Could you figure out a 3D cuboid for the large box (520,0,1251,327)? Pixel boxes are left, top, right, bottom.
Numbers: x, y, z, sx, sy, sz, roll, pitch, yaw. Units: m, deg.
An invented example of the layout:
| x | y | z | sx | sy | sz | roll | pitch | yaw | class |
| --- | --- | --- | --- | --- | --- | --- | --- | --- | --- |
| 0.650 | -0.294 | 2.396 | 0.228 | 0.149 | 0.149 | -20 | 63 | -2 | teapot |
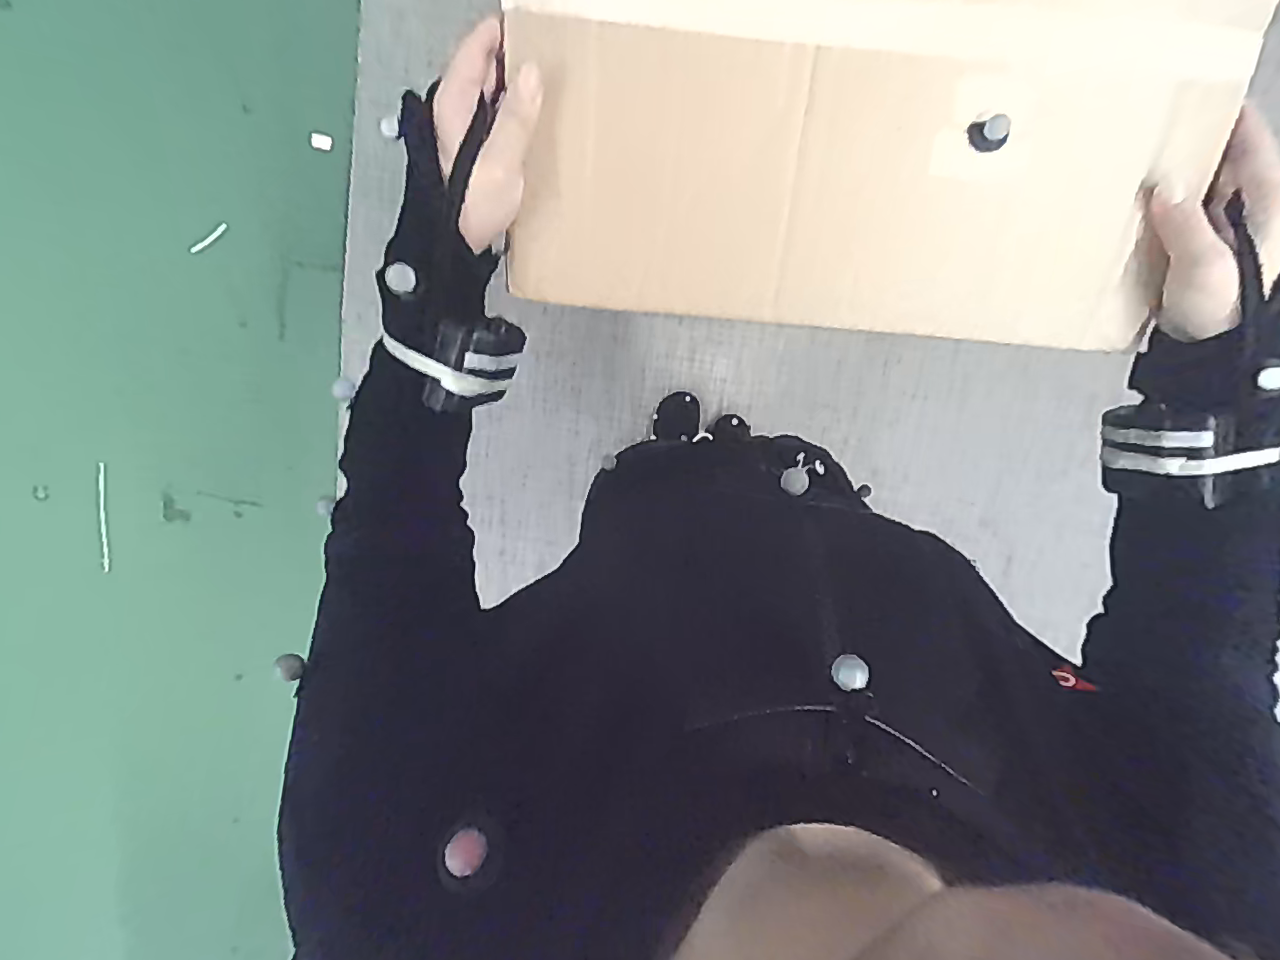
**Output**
| x | y | z | sx | sy | sz | roll | pitch | yaw | class |
| --- | --- | --- | --- | --- | --- | --- | --- | --- | --- |
| 0.128 | -0.305 | 0.435 | 0.408 | 0.320 | 0.320 | 3 | 112 | -3 | large box |
